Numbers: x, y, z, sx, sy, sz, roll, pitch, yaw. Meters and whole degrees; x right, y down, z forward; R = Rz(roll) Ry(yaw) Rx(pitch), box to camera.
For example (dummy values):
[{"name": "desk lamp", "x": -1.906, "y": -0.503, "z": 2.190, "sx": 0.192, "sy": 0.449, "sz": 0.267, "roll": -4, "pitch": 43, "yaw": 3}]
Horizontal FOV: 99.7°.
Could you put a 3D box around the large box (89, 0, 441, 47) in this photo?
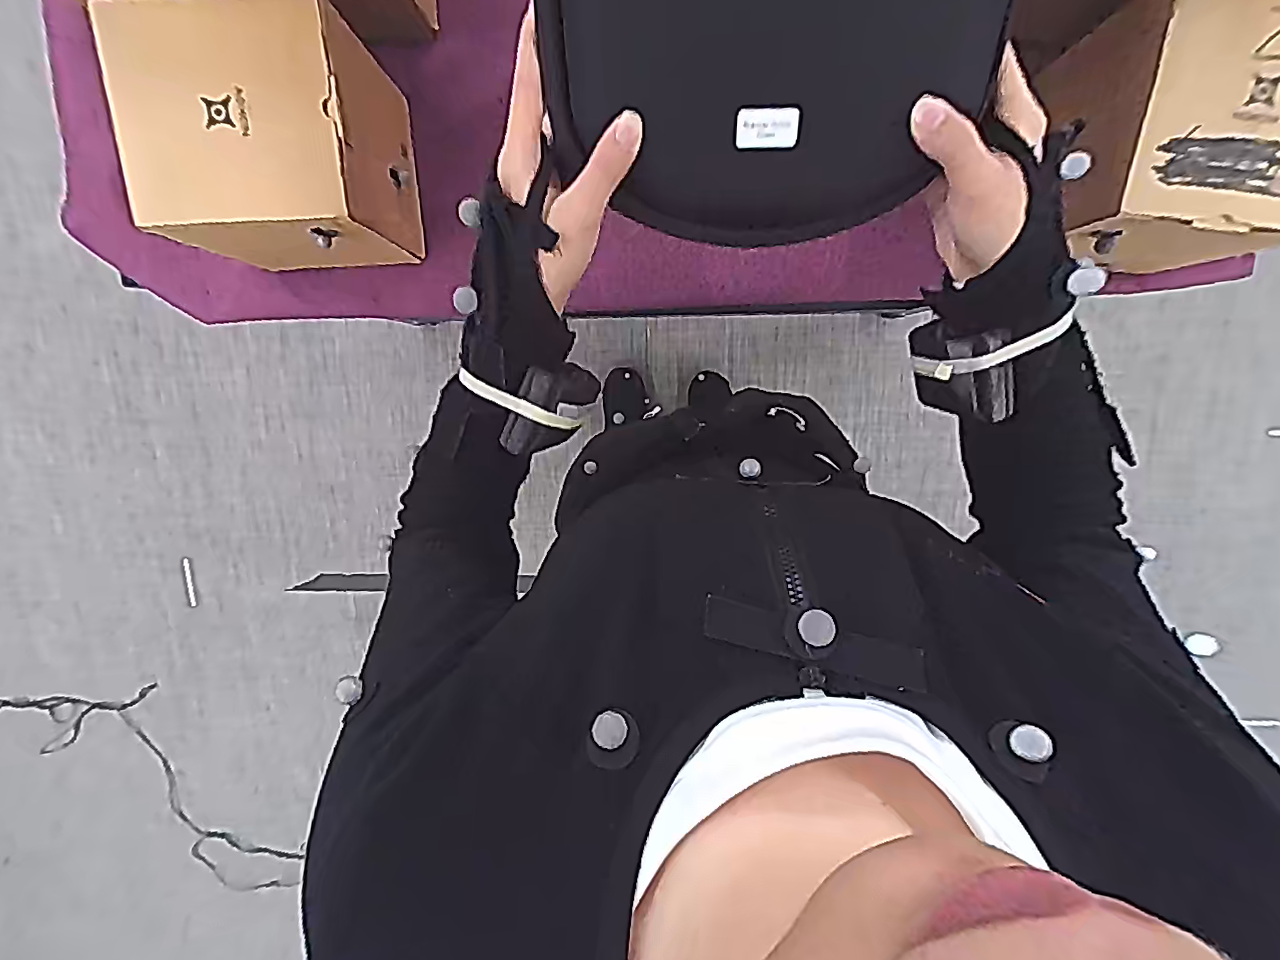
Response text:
[{"name": "large box", "x": -0.363, "y": -0.617, "z": 0.380, "sx": 0.320, "sy": 0.320, "sz": 0.408, "roll": -2, "pitch": 104, "yaw": 1}]
